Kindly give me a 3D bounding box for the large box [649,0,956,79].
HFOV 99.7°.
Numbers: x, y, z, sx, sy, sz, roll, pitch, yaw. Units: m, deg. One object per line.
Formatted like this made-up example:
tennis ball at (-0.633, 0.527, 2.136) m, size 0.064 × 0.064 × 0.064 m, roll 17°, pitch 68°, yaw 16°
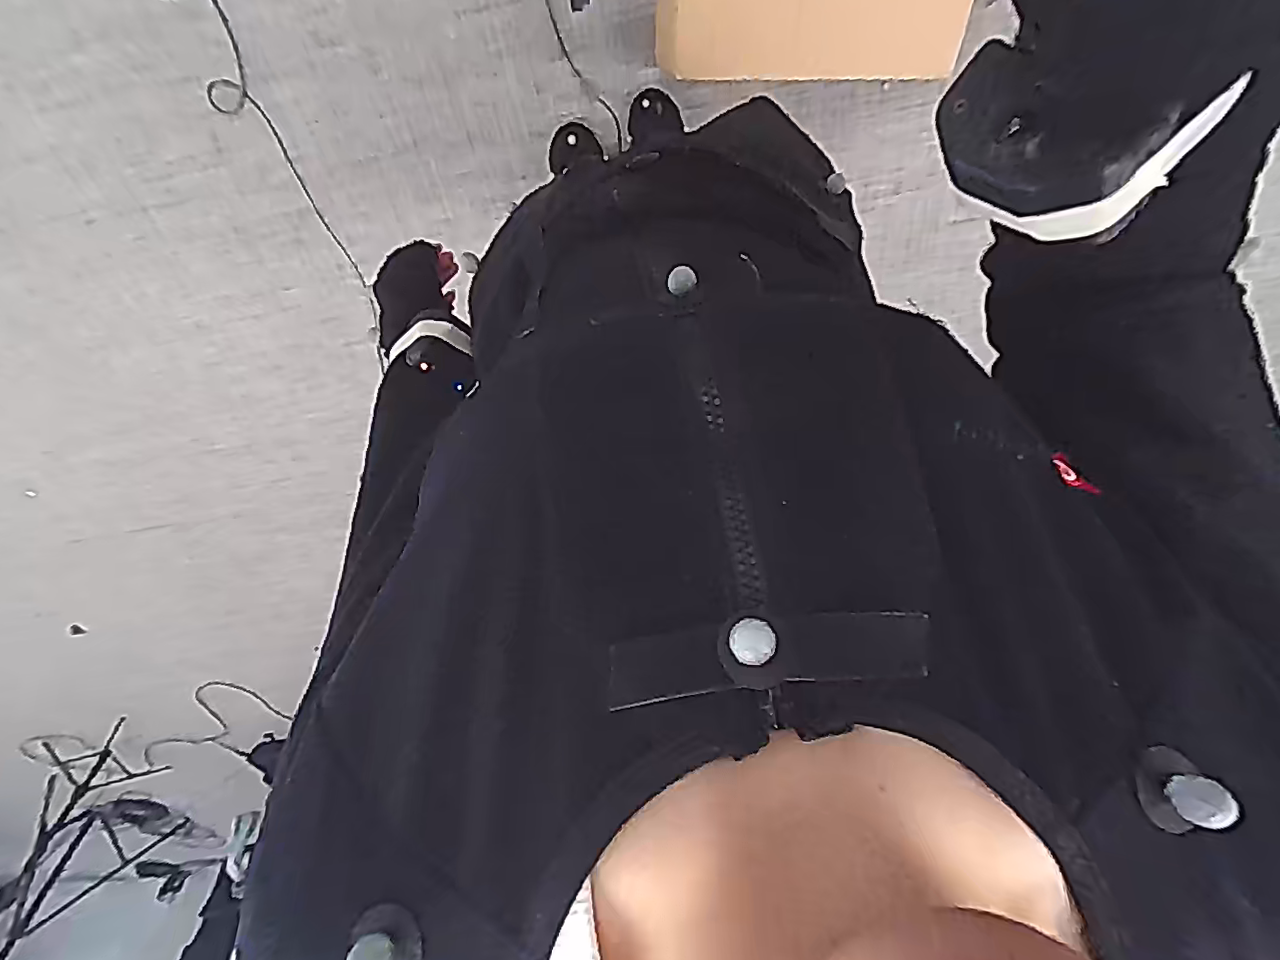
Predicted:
large box at (0.227, -0.798, 0.796) m, size 0.408 × 0.320 × 0.320 m, roll -2°, pitch 129°, yaw -3°
